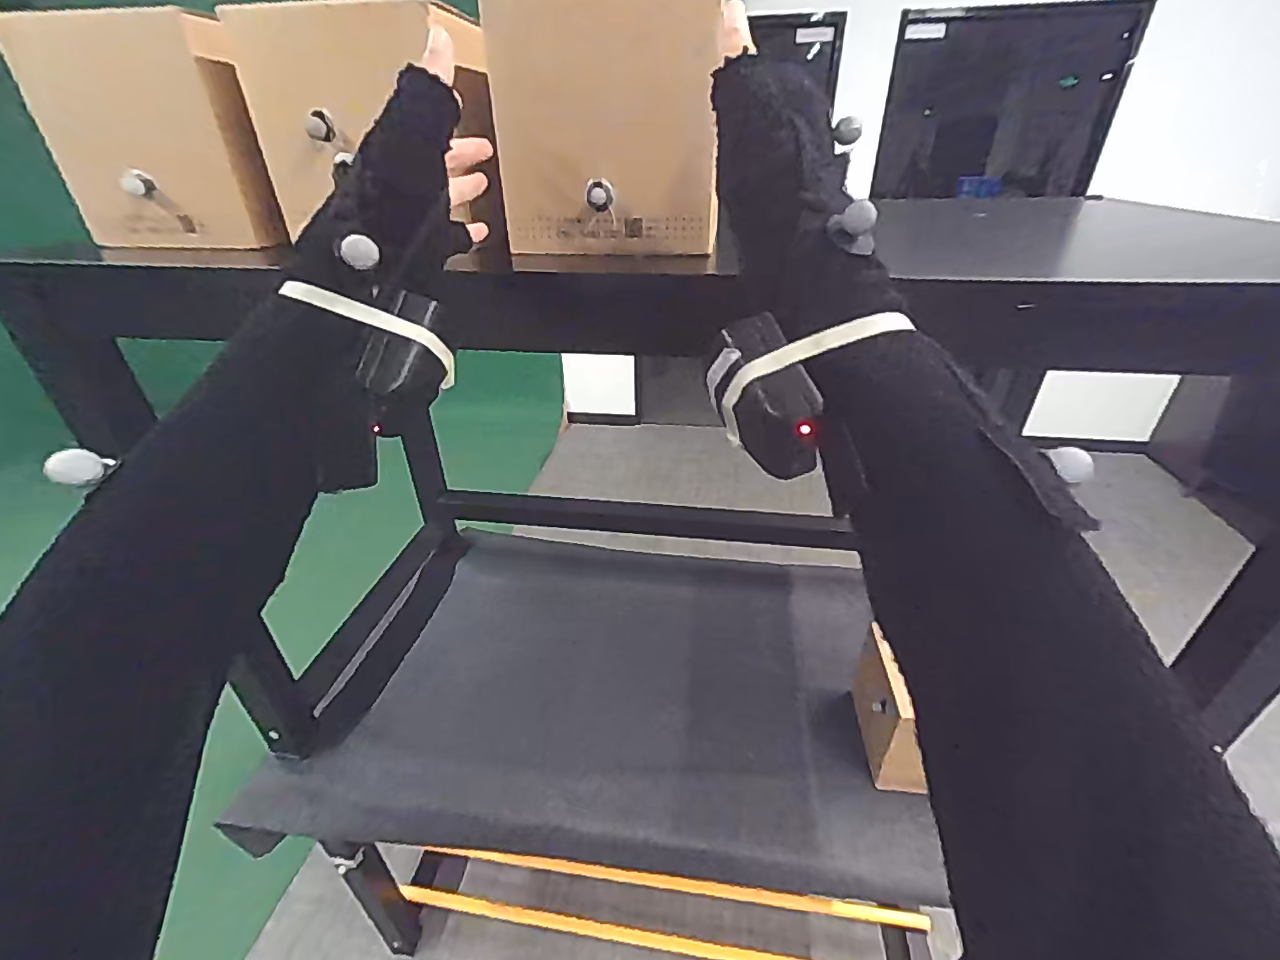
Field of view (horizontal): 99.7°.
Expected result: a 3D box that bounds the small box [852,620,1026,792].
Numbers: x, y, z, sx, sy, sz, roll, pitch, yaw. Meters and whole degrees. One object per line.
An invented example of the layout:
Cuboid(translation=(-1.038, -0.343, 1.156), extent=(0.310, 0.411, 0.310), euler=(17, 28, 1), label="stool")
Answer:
Cuboid(translation=(0.434, 0.340, 0.818), extent=(0.168, 0.176, 0.179), euler=(3, 31, 6), label="small box")

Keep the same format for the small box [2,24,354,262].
Cuboid(translation=(-0.409, -0.317, 0.524), extent=(0.168, 0.176, 0.179), euler=(3, 33, 7), label="small box")
